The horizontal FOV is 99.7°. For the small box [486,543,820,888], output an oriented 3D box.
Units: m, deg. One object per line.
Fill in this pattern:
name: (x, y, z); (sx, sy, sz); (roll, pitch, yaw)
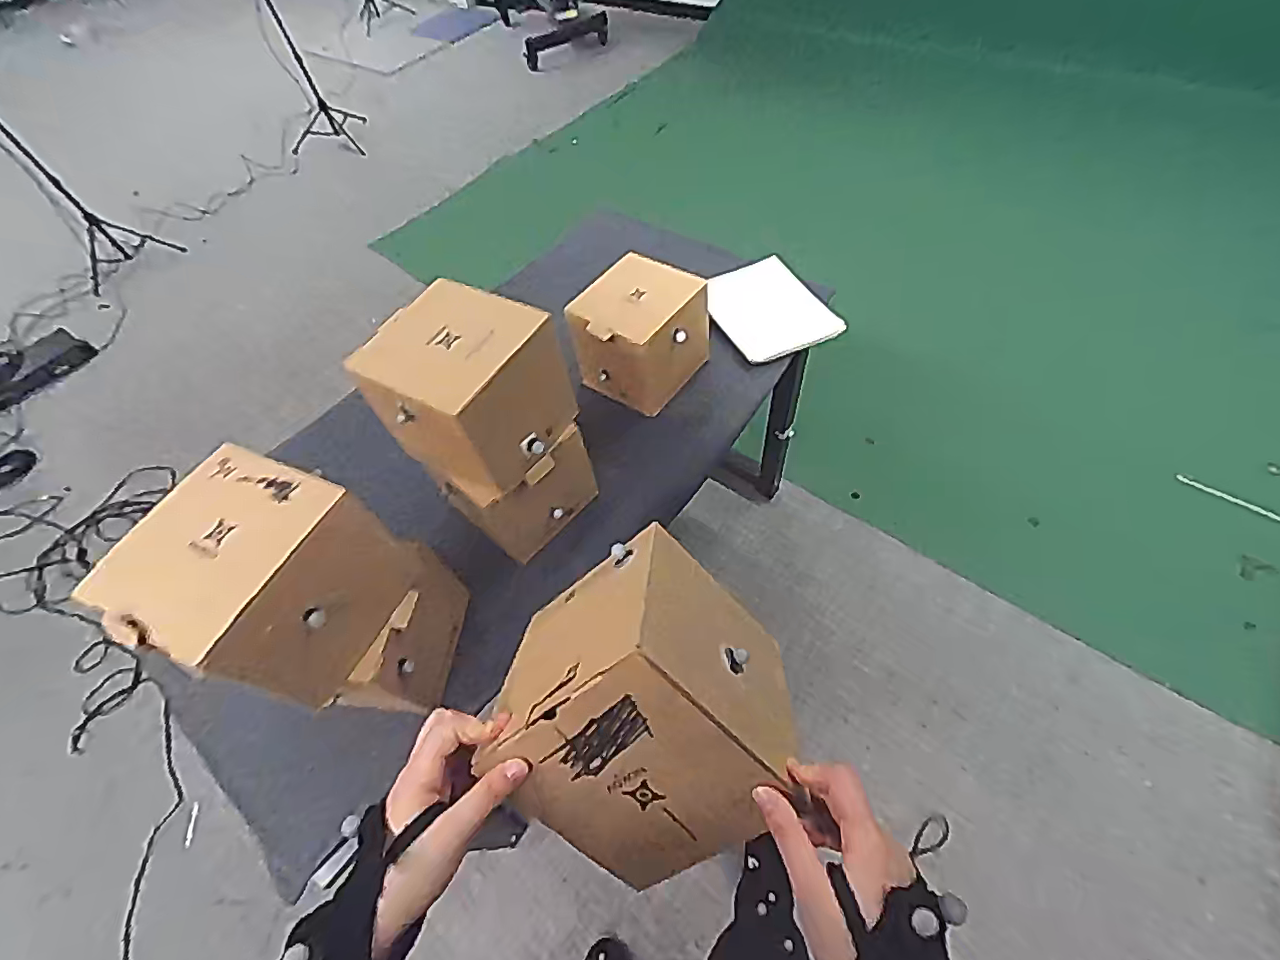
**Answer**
small box: (0.013, 0.175, 0.445); (0.168, 0.179, 0.176); (-42, 13, 20)

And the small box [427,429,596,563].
small box: (-0.190, -0.008, 0.799); (0.179, 0.176, 0.168); (34, 67, 26)

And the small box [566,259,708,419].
small box: (0.002, -0.241, 0.933); (0.168, 0.176, 0.179); (30, 65, 25)

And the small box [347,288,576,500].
small box: (-0.204, -0.101, 0.666); (0.179, 0.176, 0.168); (23, 63, 21)

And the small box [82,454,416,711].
small box: (-0.363, 0.107, 0.543); (0.168, 0.176, 0.179); (17, 61, 18)
